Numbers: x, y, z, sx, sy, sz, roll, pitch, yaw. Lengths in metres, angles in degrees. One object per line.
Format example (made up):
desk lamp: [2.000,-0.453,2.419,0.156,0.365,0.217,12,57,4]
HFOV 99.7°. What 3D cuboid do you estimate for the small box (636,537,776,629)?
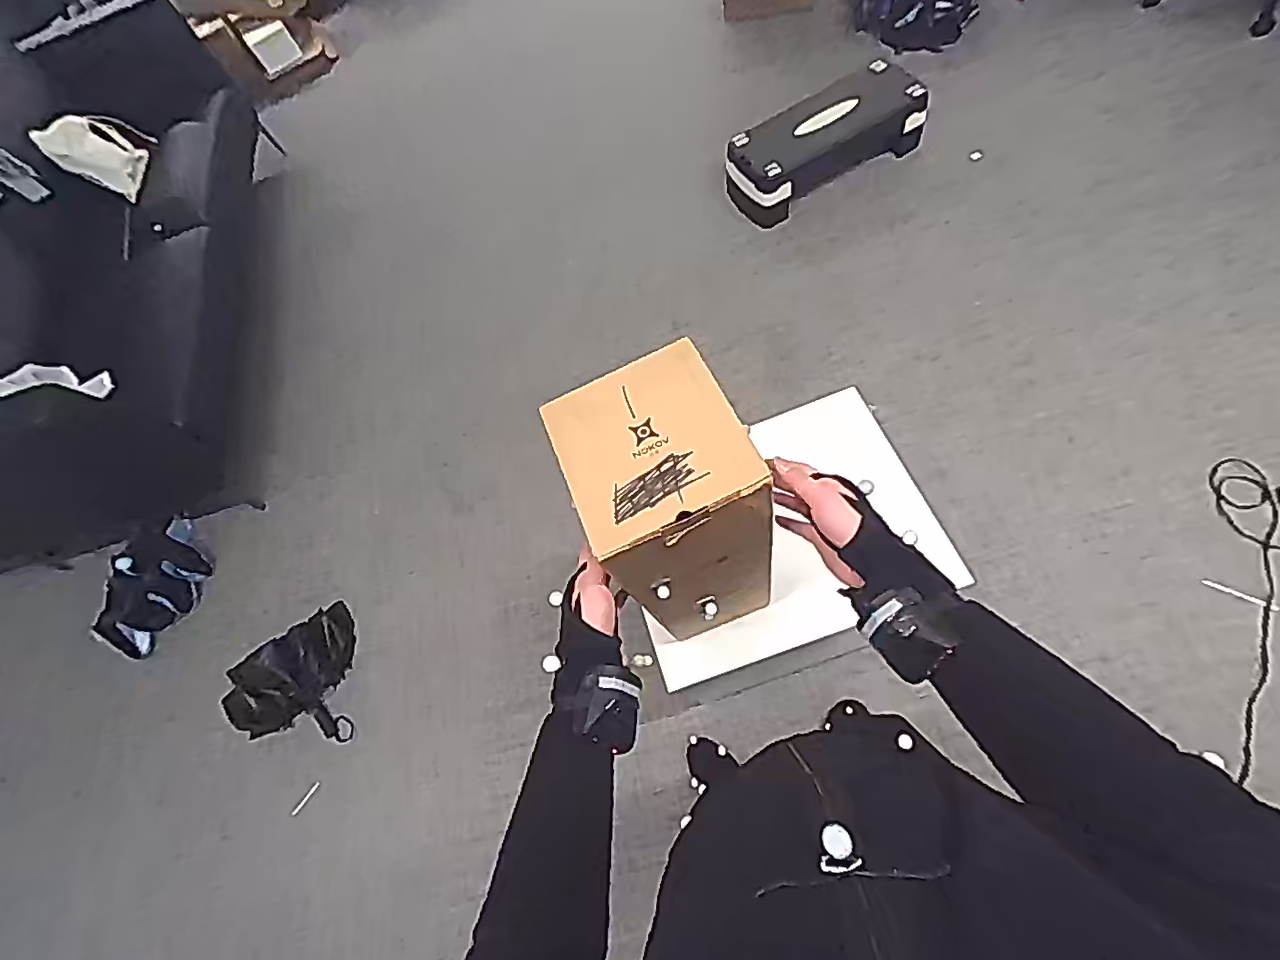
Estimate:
small box: [0.064,0.074,0.707,0.168,0.176,0.179,-25,63,2]

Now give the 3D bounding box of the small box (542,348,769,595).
small box: [0.024,0.005,0.562,0.168,0.176,0.179,-25,61,2]

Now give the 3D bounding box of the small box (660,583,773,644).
small box: [0.097,0.139,0.852,0.168,0.176,0.179,-23,62,2]
